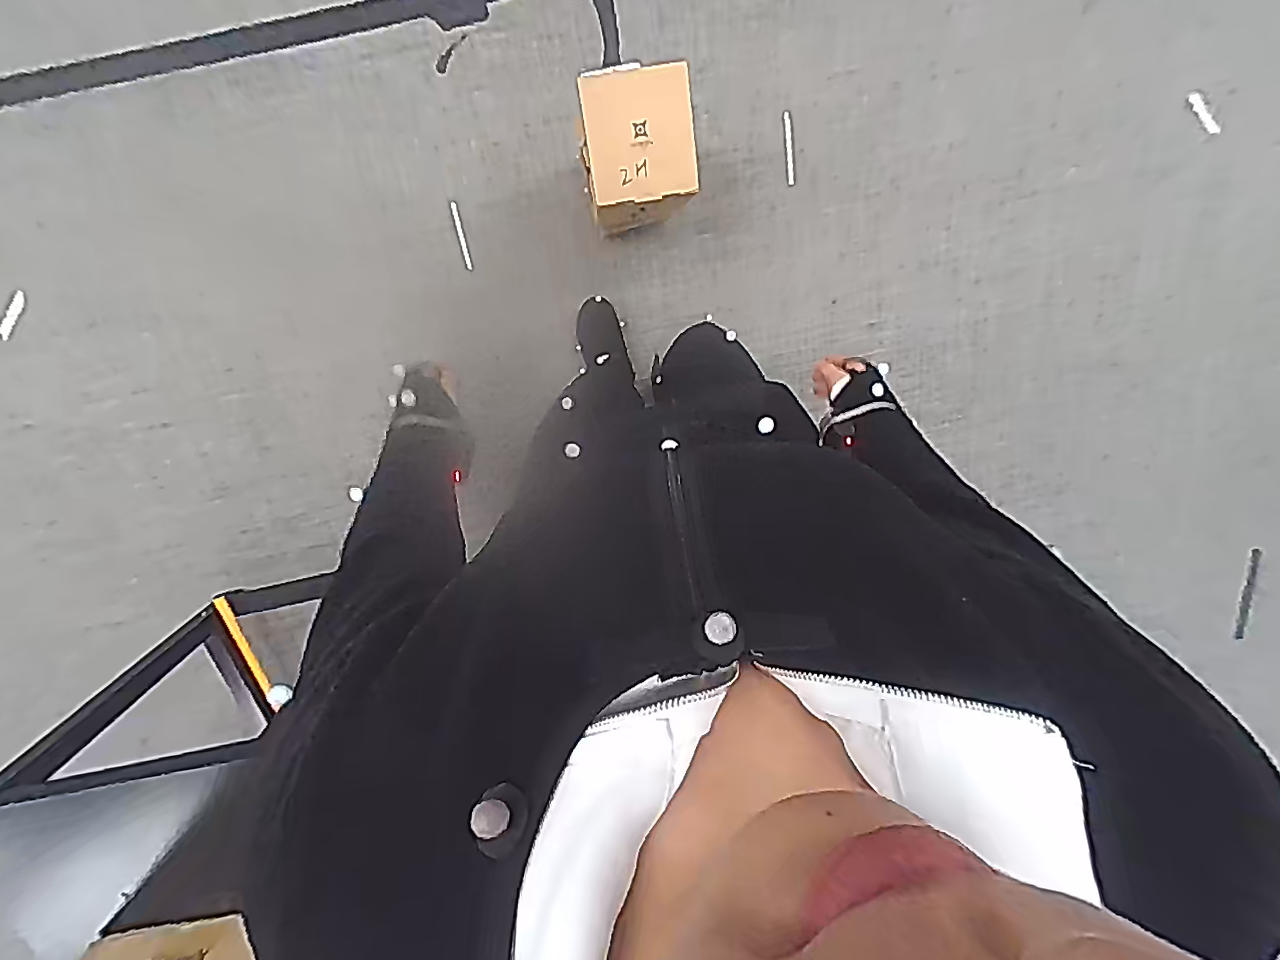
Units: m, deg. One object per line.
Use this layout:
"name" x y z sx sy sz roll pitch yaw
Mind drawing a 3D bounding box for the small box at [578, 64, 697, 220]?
"small box" -0.007 -0.542 0.890 0.168 0.176 0.179 -9 111 0

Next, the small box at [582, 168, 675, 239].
"small box" -0.031 -0.652 1.200 0.168 0.176 0.179 -16 112 3

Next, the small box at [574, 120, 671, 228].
"small box" -0.020 -0.596 1.046 0.179 0.176 0.168 -12 111 0
